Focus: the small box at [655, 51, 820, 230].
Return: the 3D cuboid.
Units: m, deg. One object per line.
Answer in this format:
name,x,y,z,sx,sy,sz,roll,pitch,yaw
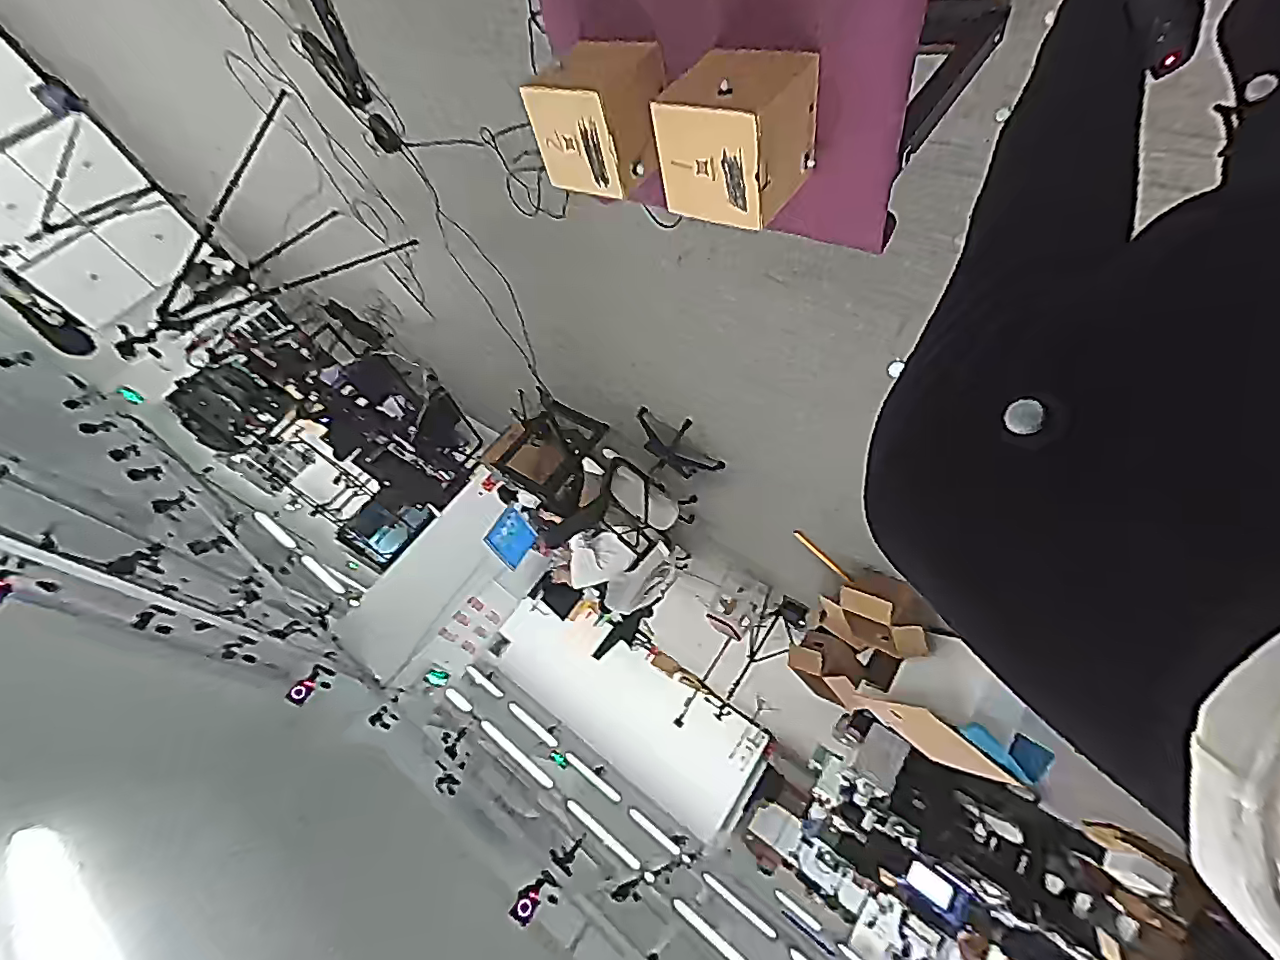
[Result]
small box,0.152,-0.513,0.814,0.179,0.176,0.168,29,157,29
